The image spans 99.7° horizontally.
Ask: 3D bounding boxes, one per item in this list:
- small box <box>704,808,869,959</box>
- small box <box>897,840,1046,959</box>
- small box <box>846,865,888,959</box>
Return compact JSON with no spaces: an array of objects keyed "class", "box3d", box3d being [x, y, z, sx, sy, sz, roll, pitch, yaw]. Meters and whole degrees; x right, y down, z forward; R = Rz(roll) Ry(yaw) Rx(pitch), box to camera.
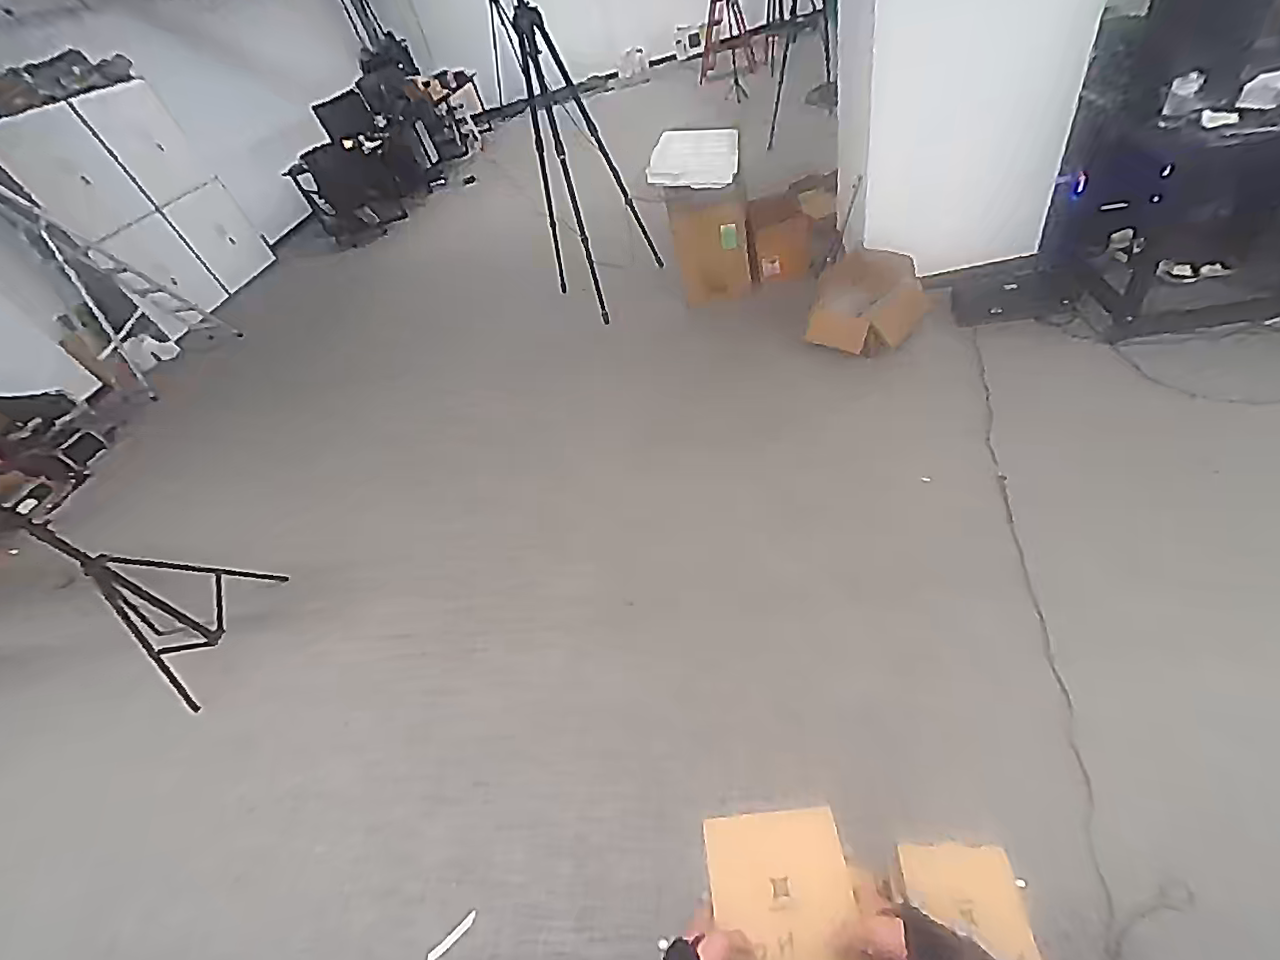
[{"class":"small box","box3d":[0.179,0.539,0.685,0.168,0.176,0.179,-11,48,7]},{"class":"small box","box3d":[0.530,0.715,0.886,0.168,0.176,0.179,-8,45,15]},{"class":"small box","box3d":[0.377,0.853,1.049,0.179,0.176,0.168,-5,46,19]}]
